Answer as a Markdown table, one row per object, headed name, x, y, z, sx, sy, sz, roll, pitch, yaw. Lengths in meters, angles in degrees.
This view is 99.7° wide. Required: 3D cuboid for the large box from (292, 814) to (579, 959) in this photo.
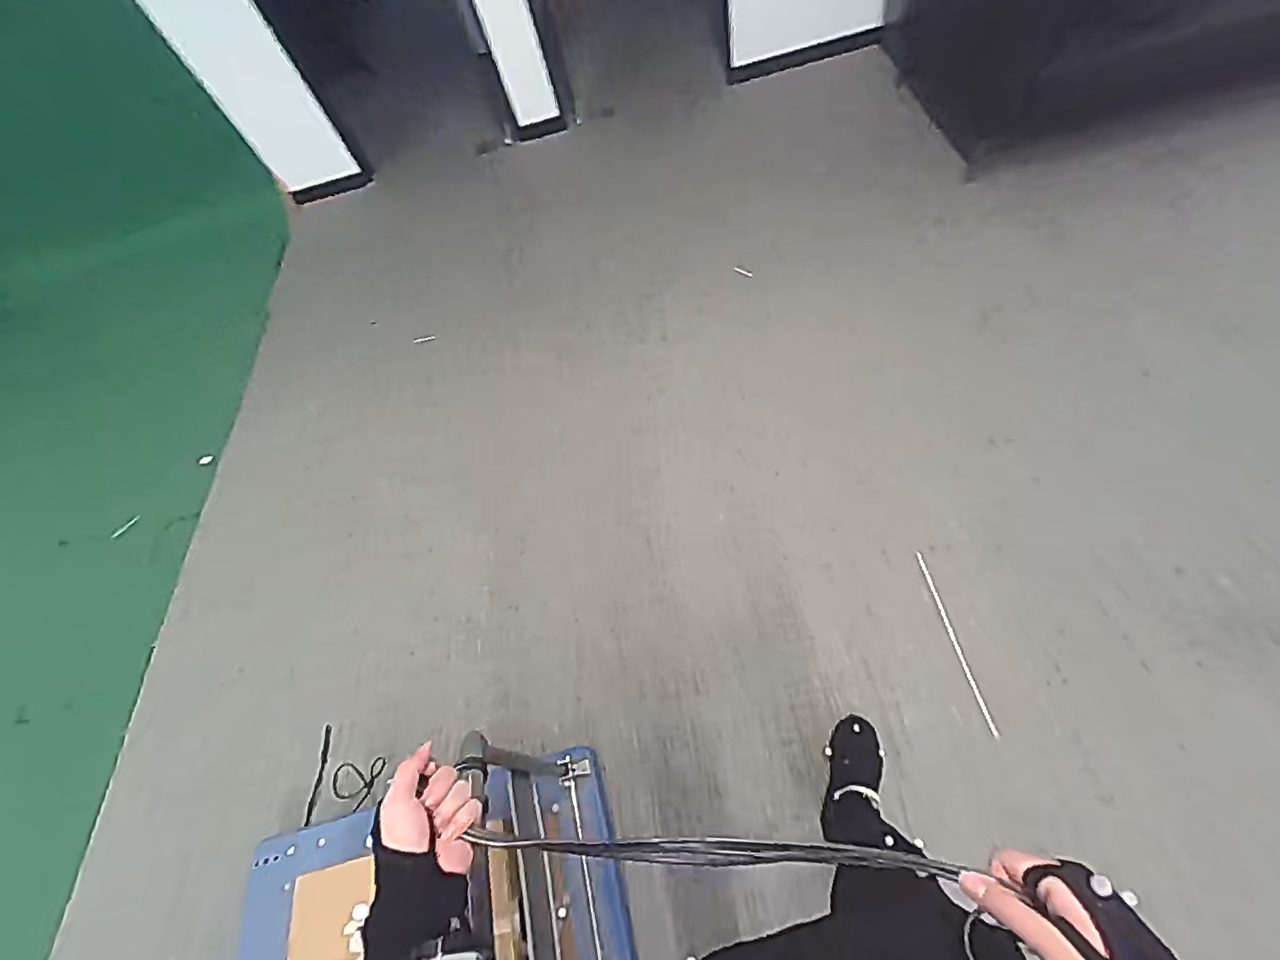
| name | x | y | z | sx | sy | sz | roll | pitch | yaw |
| --- | --- | --- | --- | --- | --- | --- | --- | --- | --- |
| large box | -0.364 | 0.864 | 1.019 | 0.408 | 0.320 | 0.320 | -18 | 57 | 3 |
